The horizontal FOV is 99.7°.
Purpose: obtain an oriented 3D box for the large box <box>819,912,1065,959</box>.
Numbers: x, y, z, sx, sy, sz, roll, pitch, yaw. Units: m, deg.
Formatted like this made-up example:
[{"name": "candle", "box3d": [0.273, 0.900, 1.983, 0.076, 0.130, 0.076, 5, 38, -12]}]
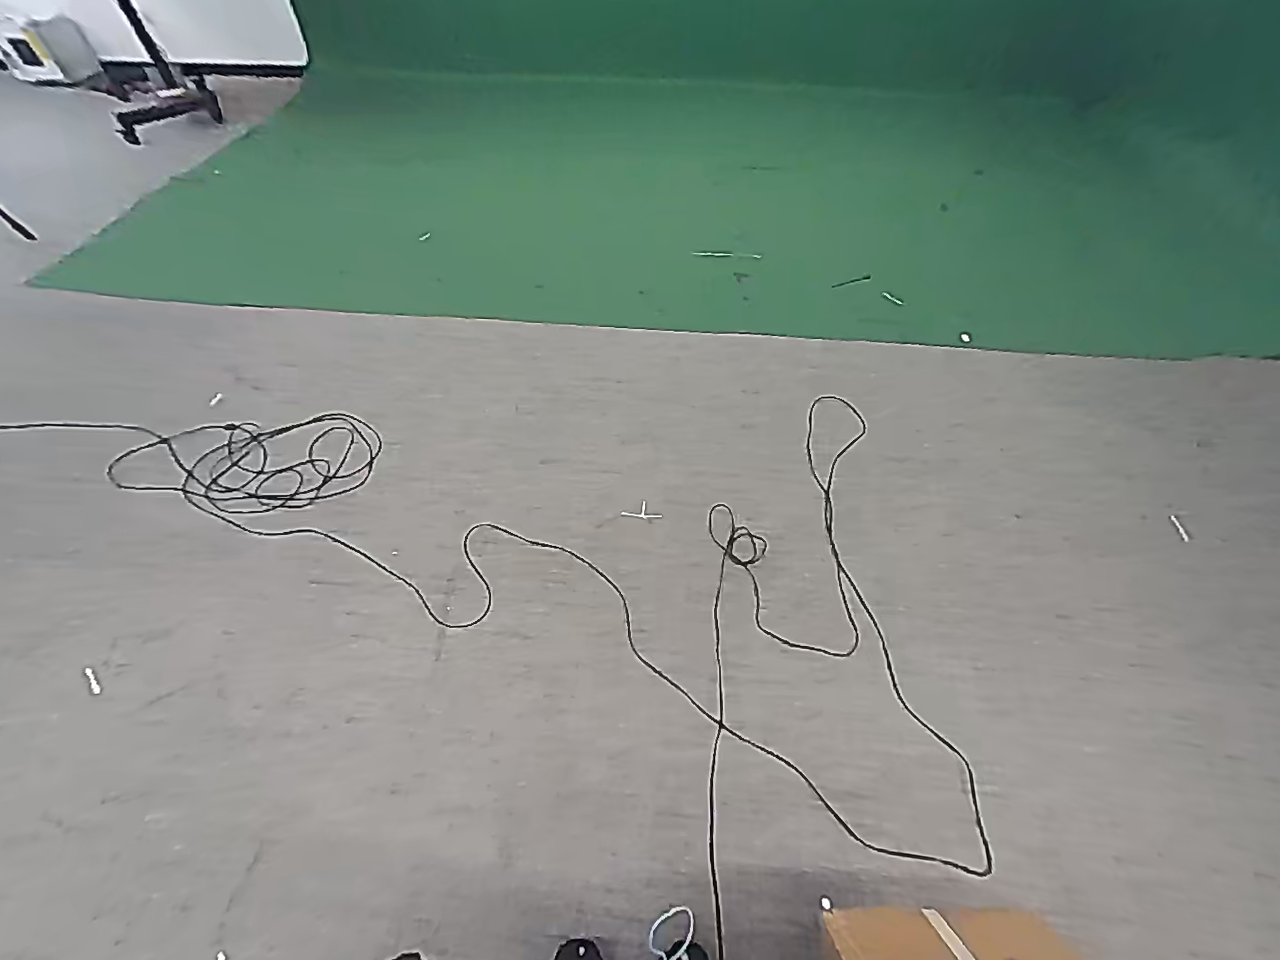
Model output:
[{"name": "large box", "box3d": [0.417, 0.776, 0.586, 0.320, 0.408, 0.320, 2, 85, 0]}]
